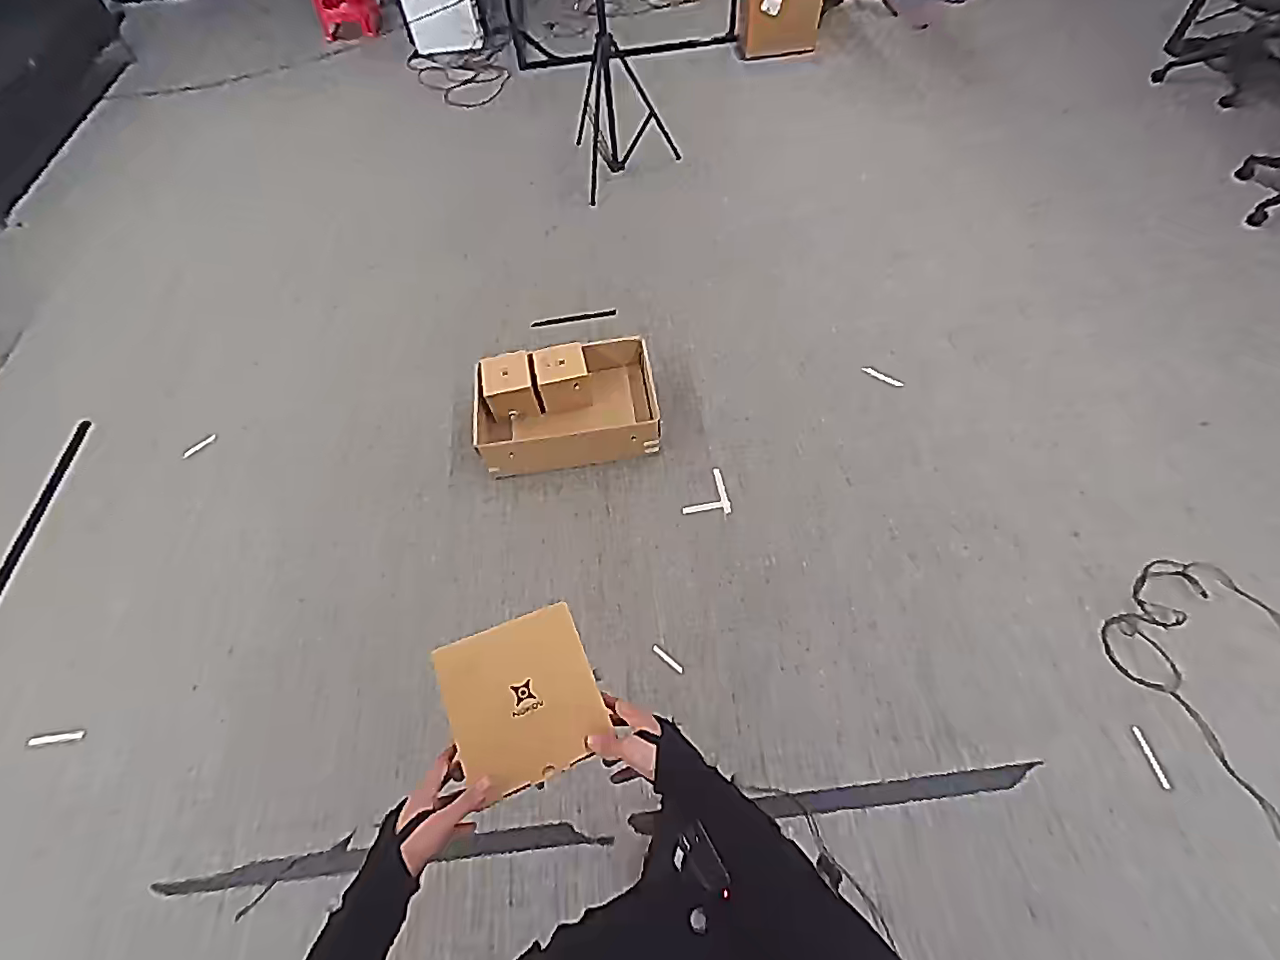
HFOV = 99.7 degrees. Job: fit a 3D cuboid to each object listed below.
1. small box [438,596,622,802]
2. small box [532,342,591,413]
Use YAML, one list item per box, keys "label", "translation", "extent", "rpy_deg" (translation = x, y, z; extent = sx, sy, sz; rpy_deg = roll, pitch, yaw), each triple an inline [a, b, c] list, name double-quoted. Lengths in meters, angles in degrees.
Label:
- label: "small box"
  translation: [-0.140, 0.271, 0.677]
  extent: [0.168, 0.176, 0.179]
  rpy_deg: [-18, 69, -19]
- label: "small box"
  translation: [-0.276, -0.364, 1.939]
  extent: [0.179, 0.176, 0.168]
  rpy_deg: [-13, 59, -4]
